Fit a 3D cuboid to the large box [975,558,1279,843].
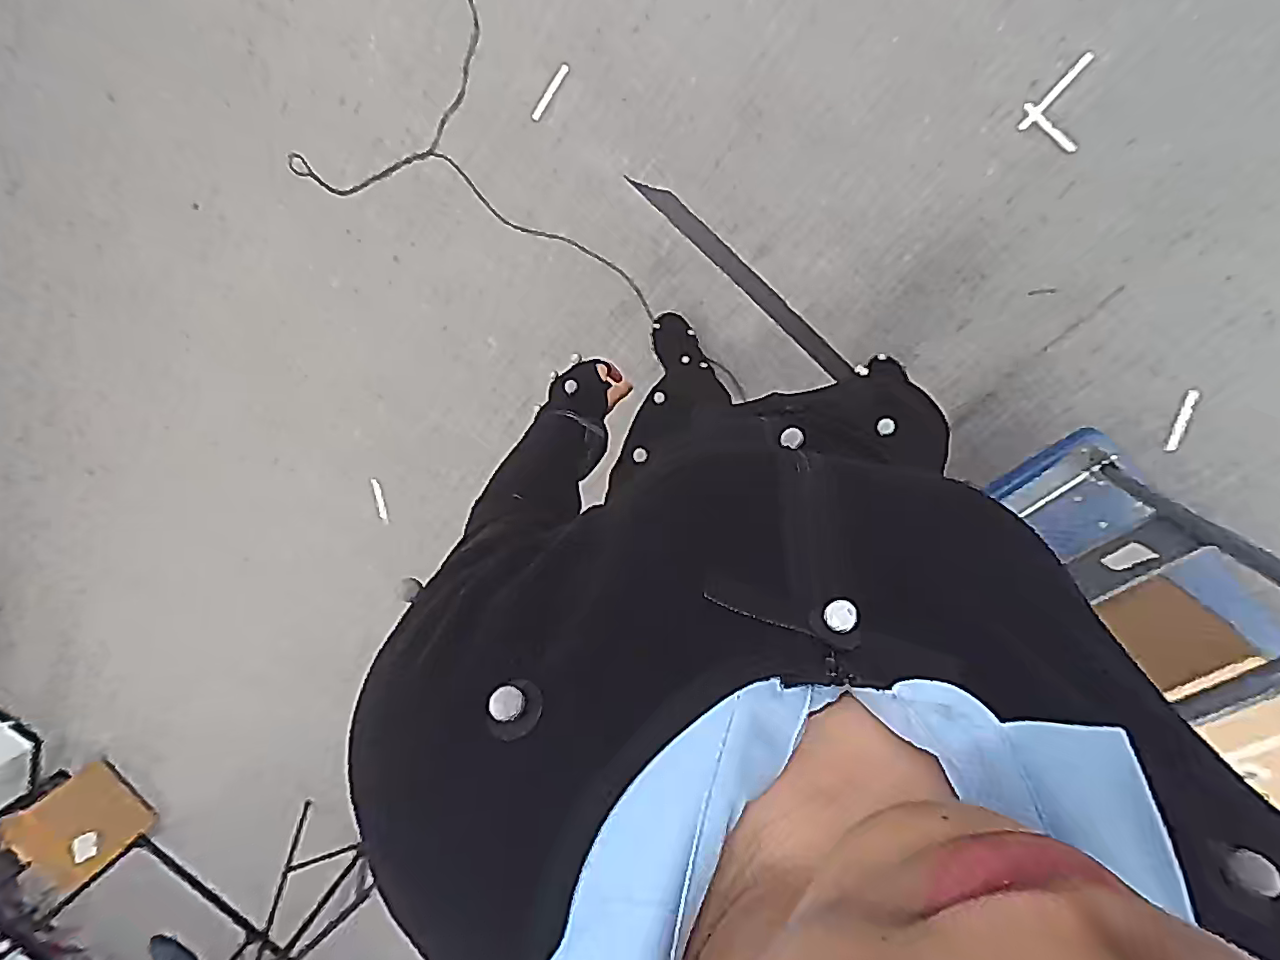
[{"bbox_3d":[1.009,0.437,1.113,0.320,0.320,0.408,46,113,-4],"label":"large box"}]
